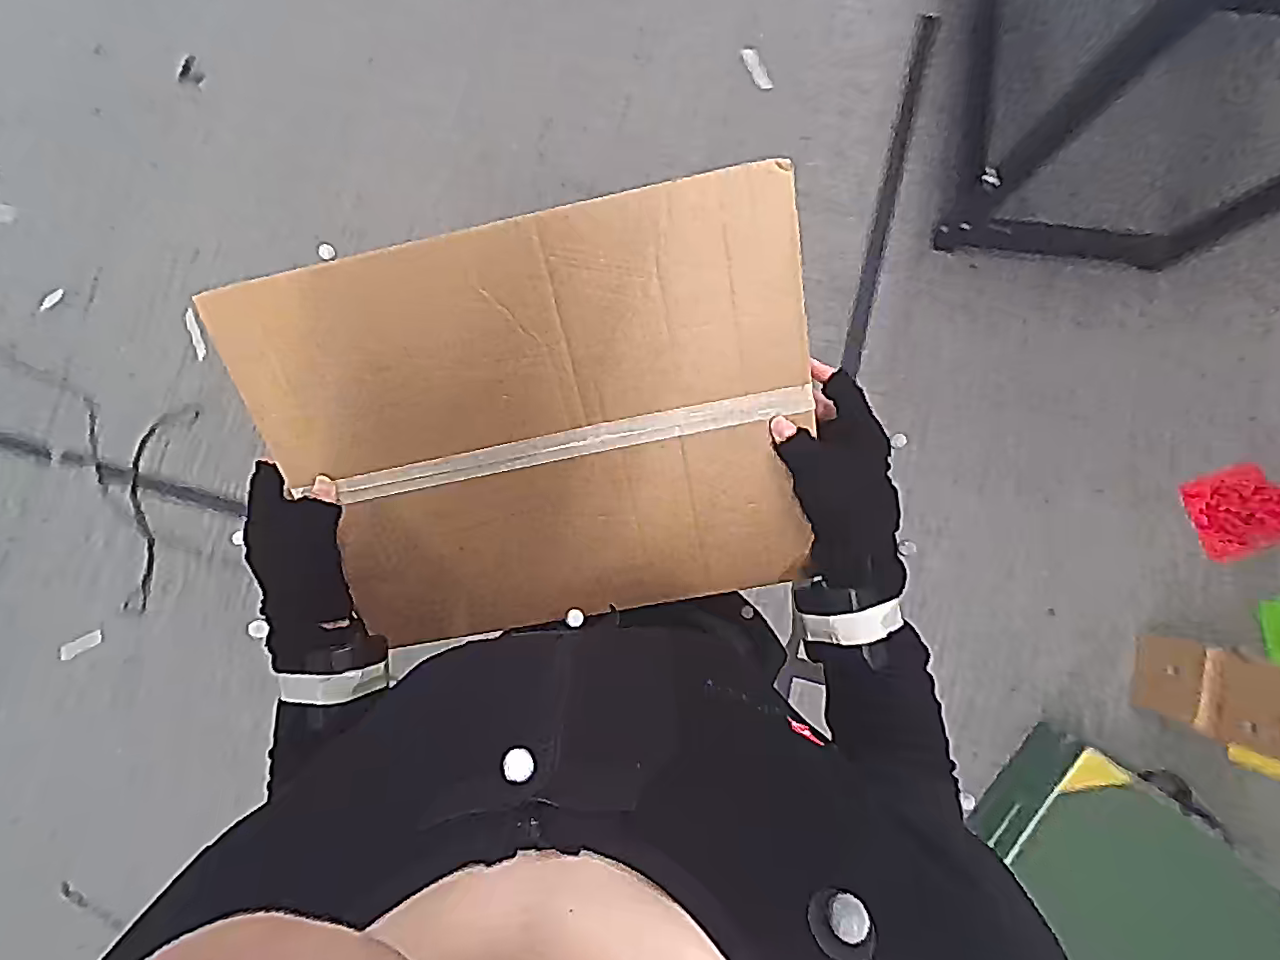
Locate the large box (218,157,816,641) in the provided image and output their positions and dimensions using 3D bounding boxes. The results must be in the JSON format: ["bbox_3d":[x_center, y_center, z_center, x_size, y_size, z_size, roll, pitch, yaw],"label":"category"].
[{"bbox_3d":[-0.078,-0.087,0.558,0.408,0.320,0.320,-12,114,5],"label":"large box"}]
